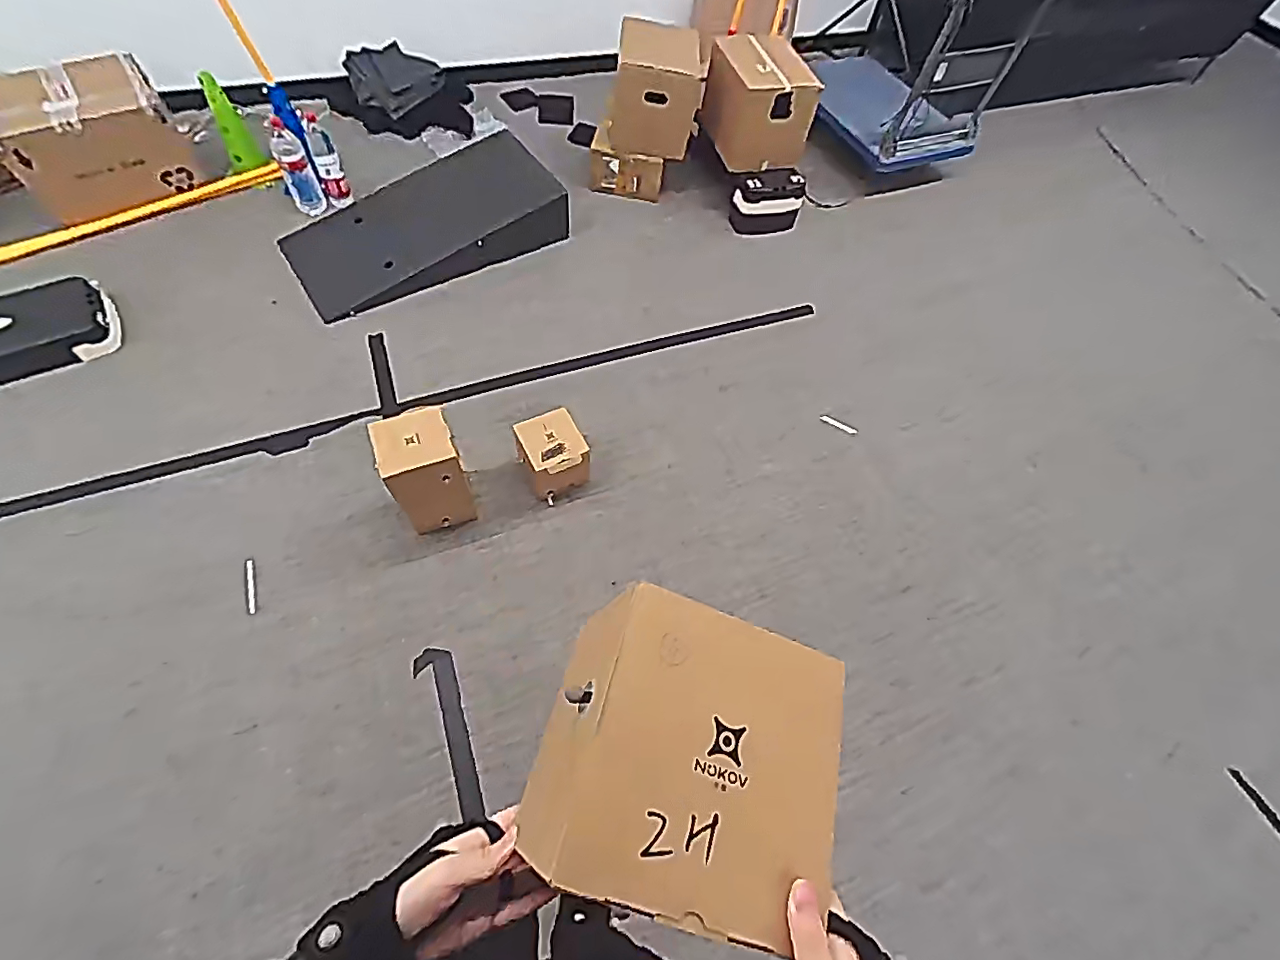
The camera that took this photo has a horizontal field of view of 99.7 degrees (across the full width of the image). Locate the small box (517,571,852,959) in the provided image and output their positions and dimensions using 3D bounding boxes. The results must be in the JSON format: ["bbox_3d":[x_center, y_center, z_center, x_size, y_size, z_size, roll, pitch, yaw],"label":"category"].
[{"bbox_3d":[0.024,0.195,0.387,0.168,0.176,0.179,24,58,-8],"label":"small box"}]

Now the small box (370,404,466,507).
[{"bbox_3d":[-0.543,-0.058,1.345,0.179,0.176,0.168,-18,64,-15],"label":"small box"}]

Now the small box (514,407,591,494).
[{"bbox_3d":[-0.251,-0.078,1.580,0.168,0.176,0.179,-23,65,-18],"label":"small box"}]

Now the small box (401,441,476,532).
[{"bbox_3d":[-0.559,0.020,1.488,0.179,0.176,0.168,-16,63,-16],"label":"small box"}]
